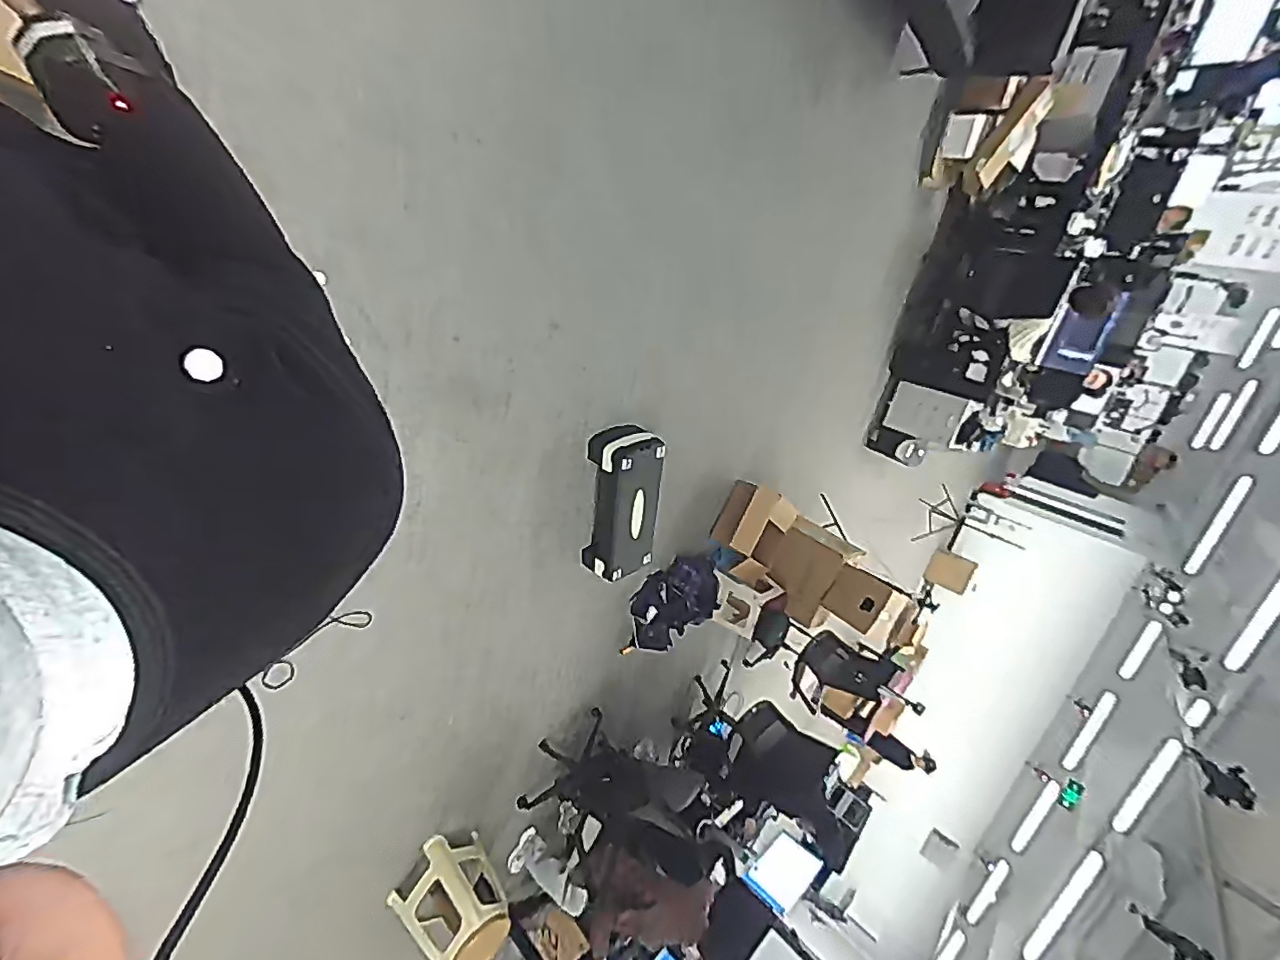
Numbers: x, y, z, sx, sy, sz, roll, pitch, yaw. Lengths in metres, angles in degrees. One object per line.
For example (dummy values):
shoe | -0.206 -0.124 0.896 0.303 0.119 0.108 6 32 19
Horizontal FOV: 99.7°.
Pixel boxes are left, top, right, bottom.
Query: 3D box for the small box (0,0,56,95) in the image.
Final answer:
small box | -0.930 -0.667 0.735 0.168 0.176 0.179 14 102 -52
